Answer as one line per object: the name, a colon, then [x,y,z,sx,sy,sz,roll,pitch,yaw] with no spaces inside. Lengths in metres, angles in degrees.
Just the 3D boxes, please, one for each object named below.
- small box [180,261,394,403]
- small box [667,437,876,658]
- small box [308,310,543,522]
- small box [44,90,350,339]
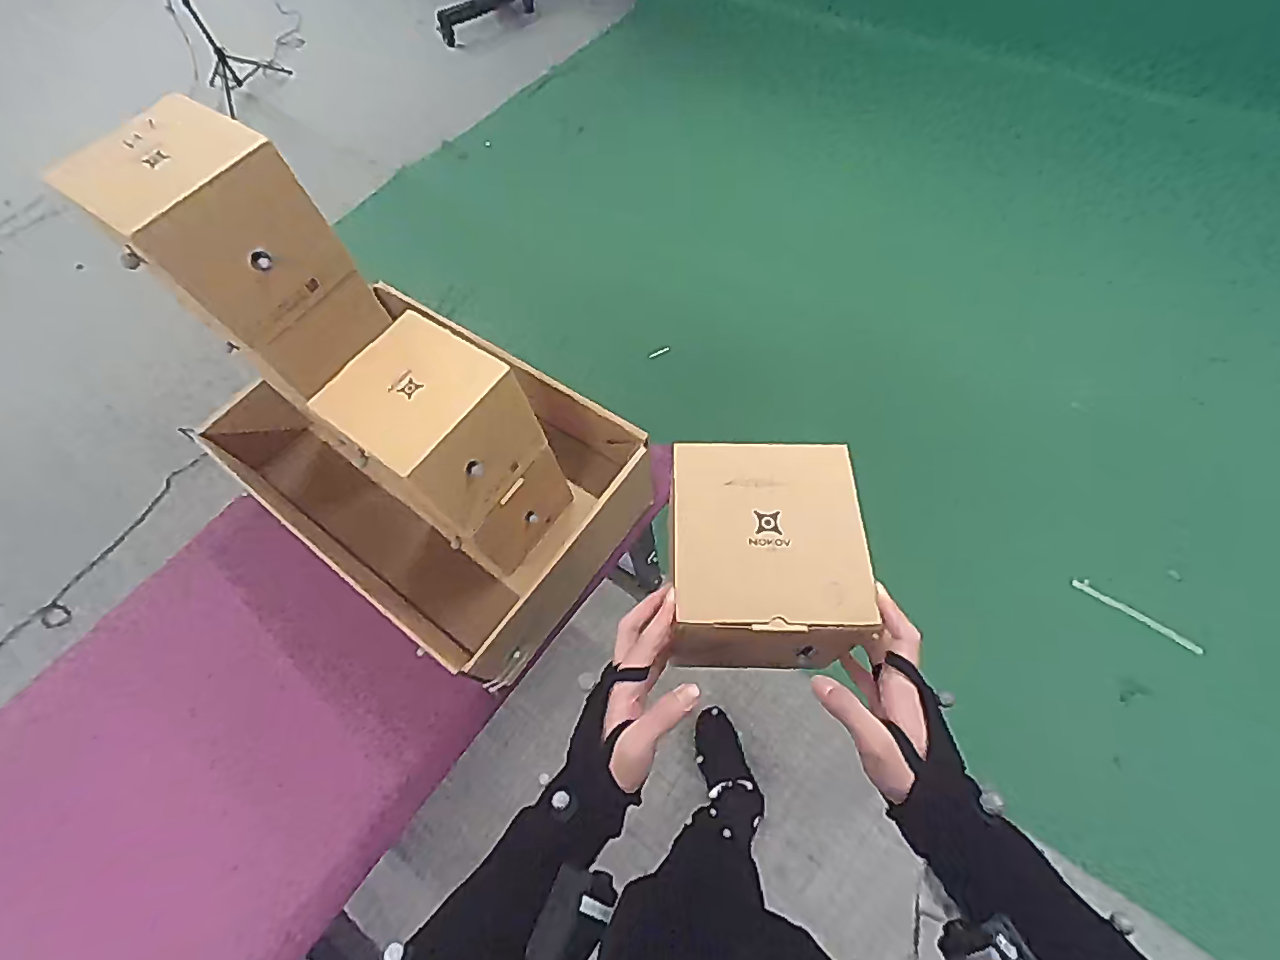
small box: [-0.469,-0.219,0.763,0.179,0.176,0.168,31,71,17]
small box: [0.112,0.075,0.541,0.168,0.176,0.179,1,60,2]
small box: [-0.247,-0.068,0.669,0.179,0.176,0.168,31,71,21]
small box: [-0.478,-0.290,0.614,0.179,0.176,0.168,32,70,18]
